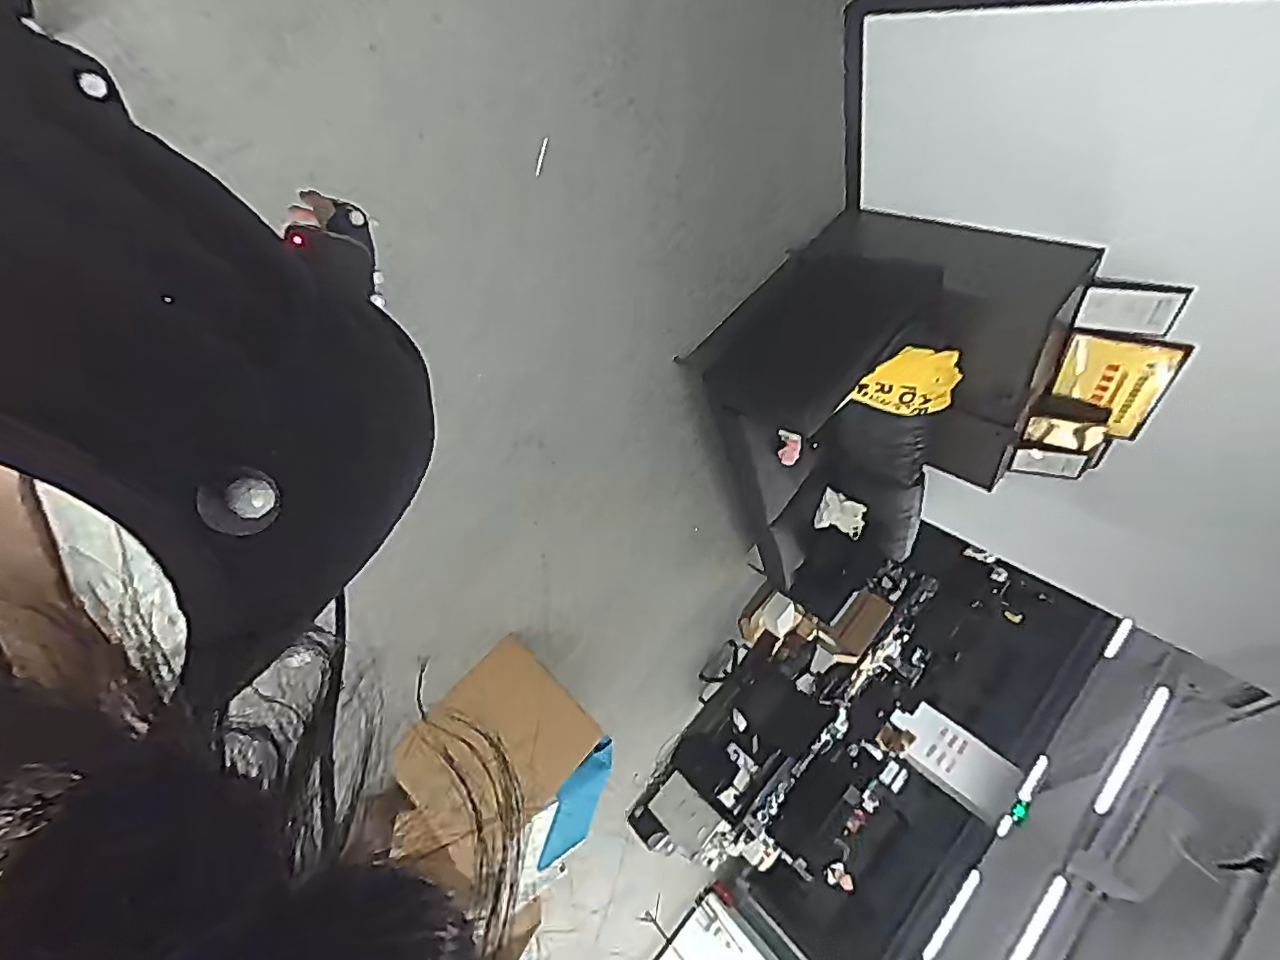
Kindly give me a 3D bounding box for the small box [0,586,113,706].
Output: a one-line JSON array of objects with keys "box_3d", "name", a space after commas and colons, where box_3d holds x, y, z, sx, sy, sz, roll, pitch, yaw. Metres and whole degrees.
[{"box_3d": [-1.303, 0.352, 1.161, 0.168, 0.176, 0.179, -51, 144, -9], "name": "small box"}]
